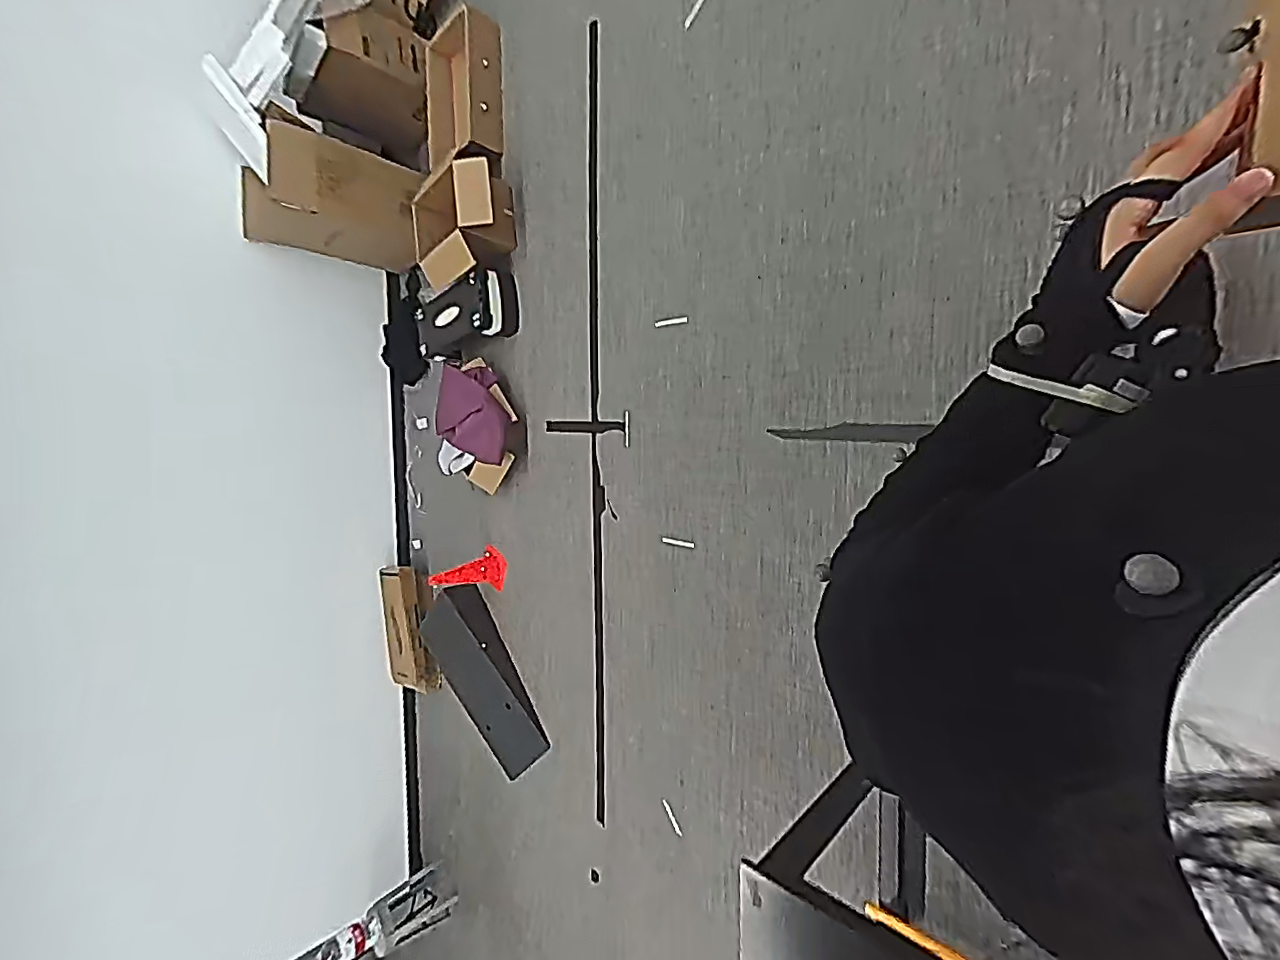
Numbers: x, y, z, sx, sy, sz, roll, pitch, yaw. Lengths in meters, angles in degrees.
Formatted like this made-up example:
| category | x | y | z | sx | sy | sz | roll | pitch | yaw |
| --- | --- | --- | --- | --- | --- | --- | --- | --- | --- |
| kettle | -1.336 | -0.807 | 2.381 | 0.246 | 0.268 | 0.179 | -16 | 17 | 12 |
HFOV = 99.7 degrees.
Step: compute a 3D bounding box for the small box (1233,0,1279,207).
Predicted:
| category | x | y | z | sx | sy | sz | roll | pitch | yaw |
| --- | --- | --- | --- | --- | --- | --- | --- | --- | --- |
| small box | 0.440 | -0.265 | 0.280 | 0.168 | 0.176 | 0.179 | 5 | 106 | 44 |
